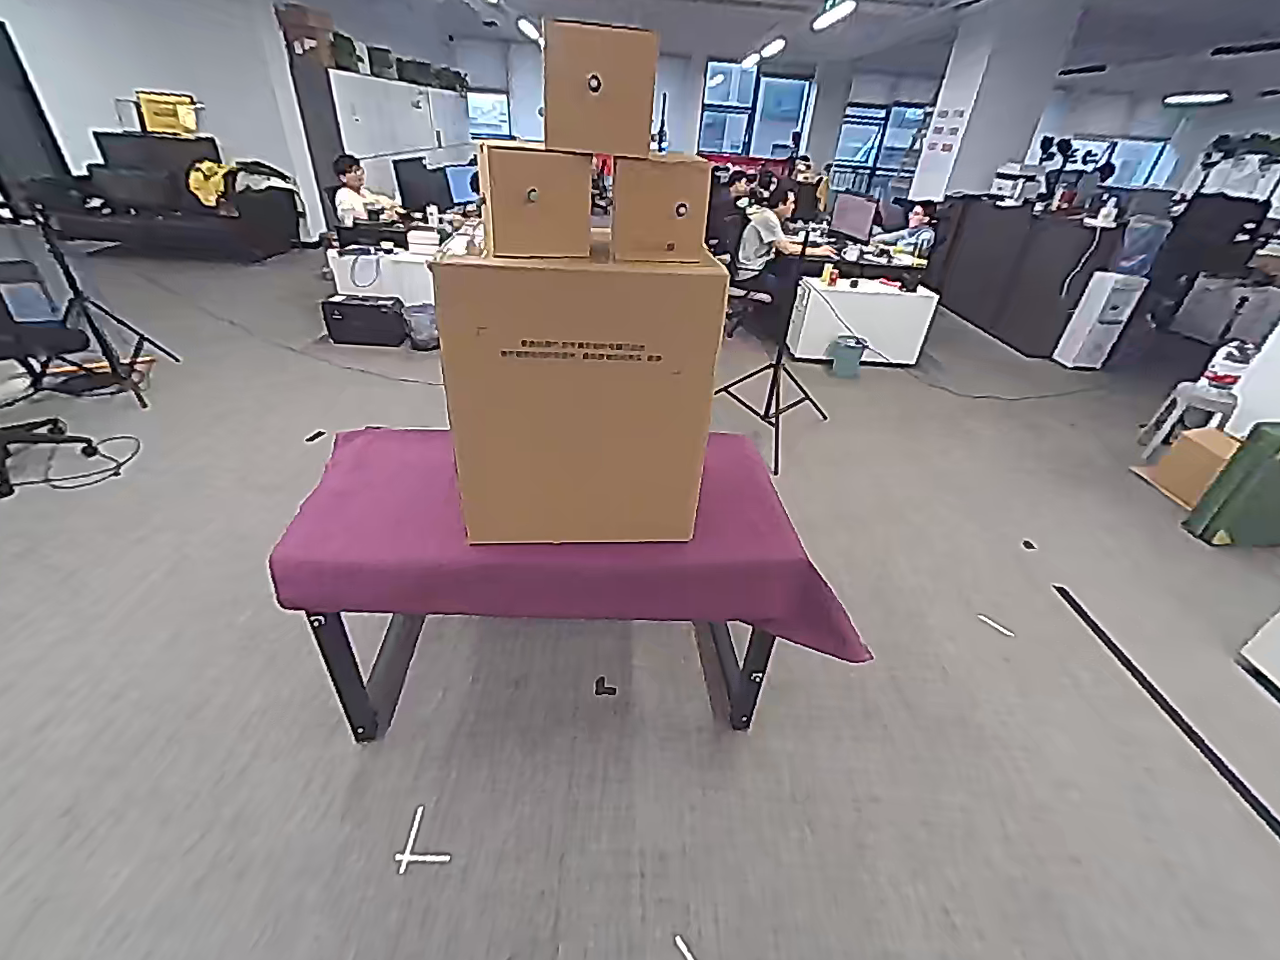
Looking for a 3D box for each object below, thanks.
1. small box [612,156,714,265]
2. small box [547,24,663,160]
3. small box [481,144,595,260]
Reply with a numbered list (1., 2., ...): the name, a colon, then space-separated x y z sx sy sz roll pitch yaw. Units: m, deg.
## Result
1. small box: 0.035 -0.512 1.024 0.168 0.176 0.179 0 33 -7
2. small box: -0.061 -0.643 0.912 0.179 0.176 0.168 2 33 -4
3. small box: -0.186 -0.506 0.988 0.179 0.176 0.168 -7 36 -19
